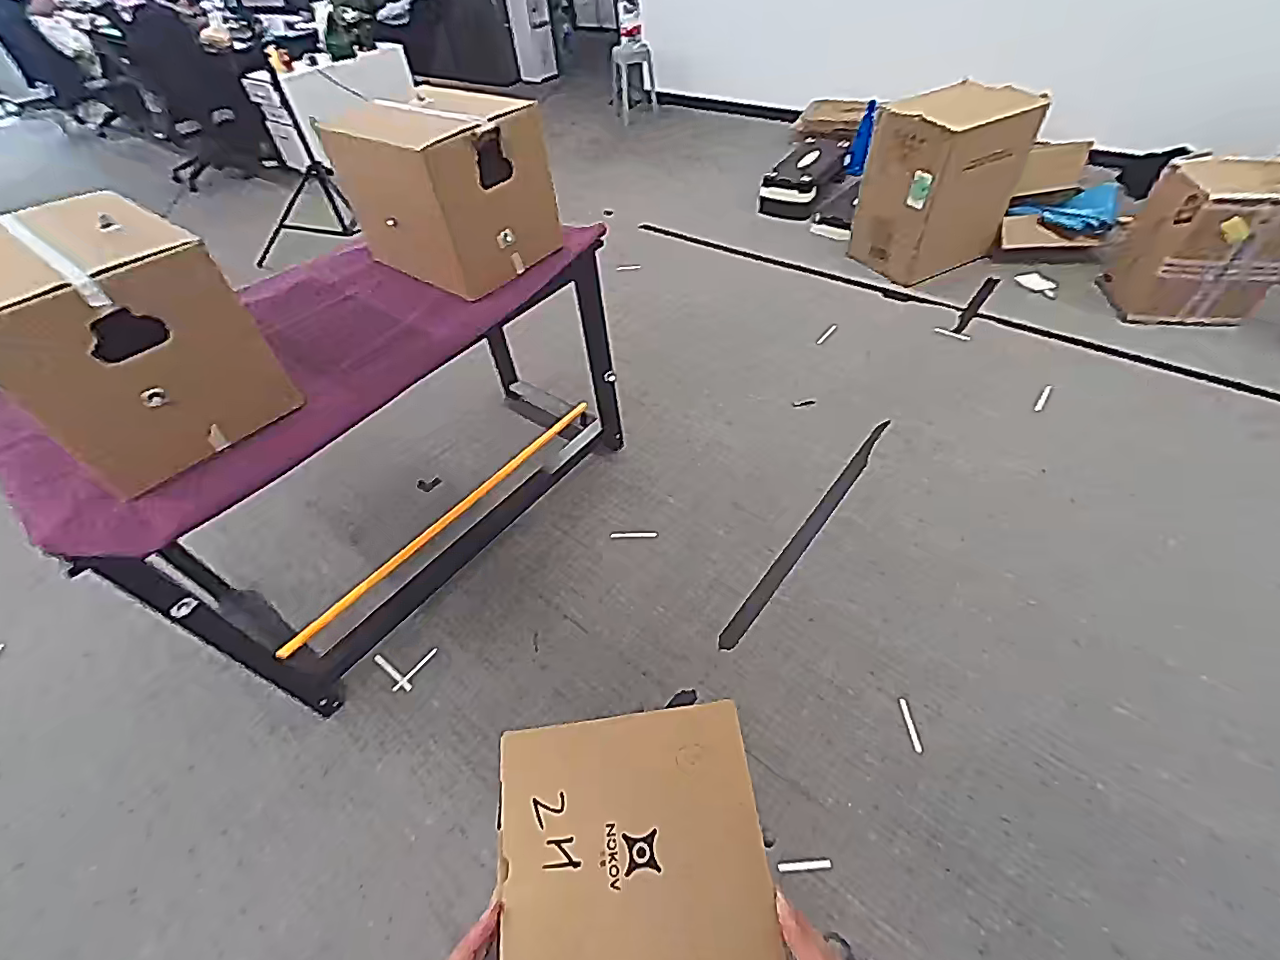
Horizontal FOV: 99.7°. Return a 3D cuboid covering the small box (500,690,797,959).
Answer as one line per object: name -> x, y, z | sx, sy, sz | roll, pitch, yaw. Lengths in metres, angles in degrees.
small box -> 0.004, 0.271, 0.414 | 0.179, 0.176, 0.168 | -9, 57, 2

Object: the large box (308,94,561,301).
large box -> -0.454, -0.663, 1.258 | 0.408, 0.320, 0.320 | 27, 55, 28
